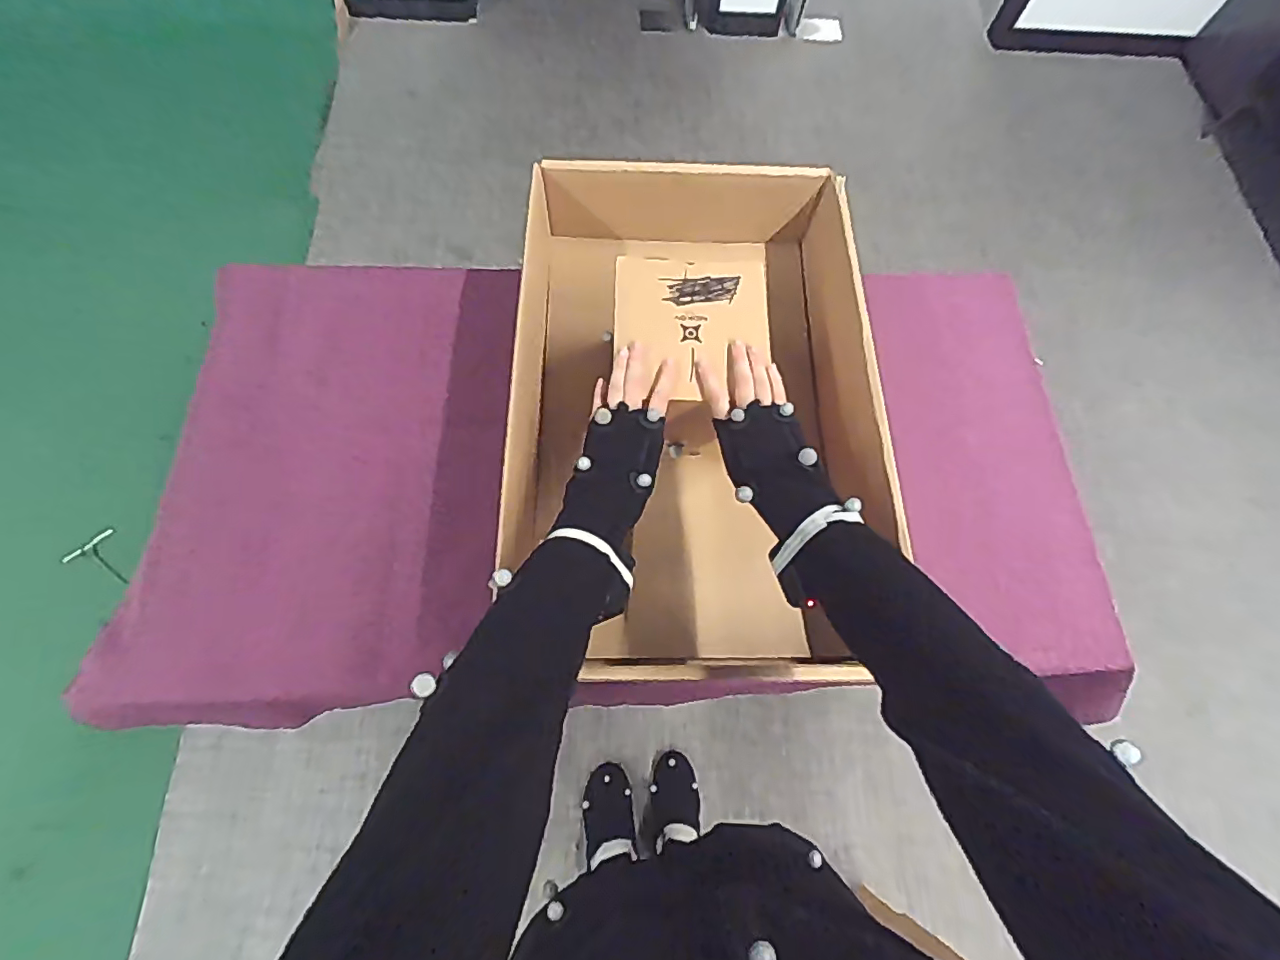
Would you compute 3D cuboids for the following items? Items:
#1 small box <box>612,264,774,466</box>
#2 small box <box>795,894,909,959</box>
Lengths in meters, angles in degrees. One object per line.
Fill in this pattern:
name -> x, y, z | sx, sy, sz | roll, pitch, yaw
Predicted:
small box -> 0.052, -0.129, 0.646 | 0.168, 0.176, 0.179 | 1, 72, -2
small box -> 0.426, 0.969, 1.090 | 0.179, 0.176, 0.168 | -5, 69, -6
